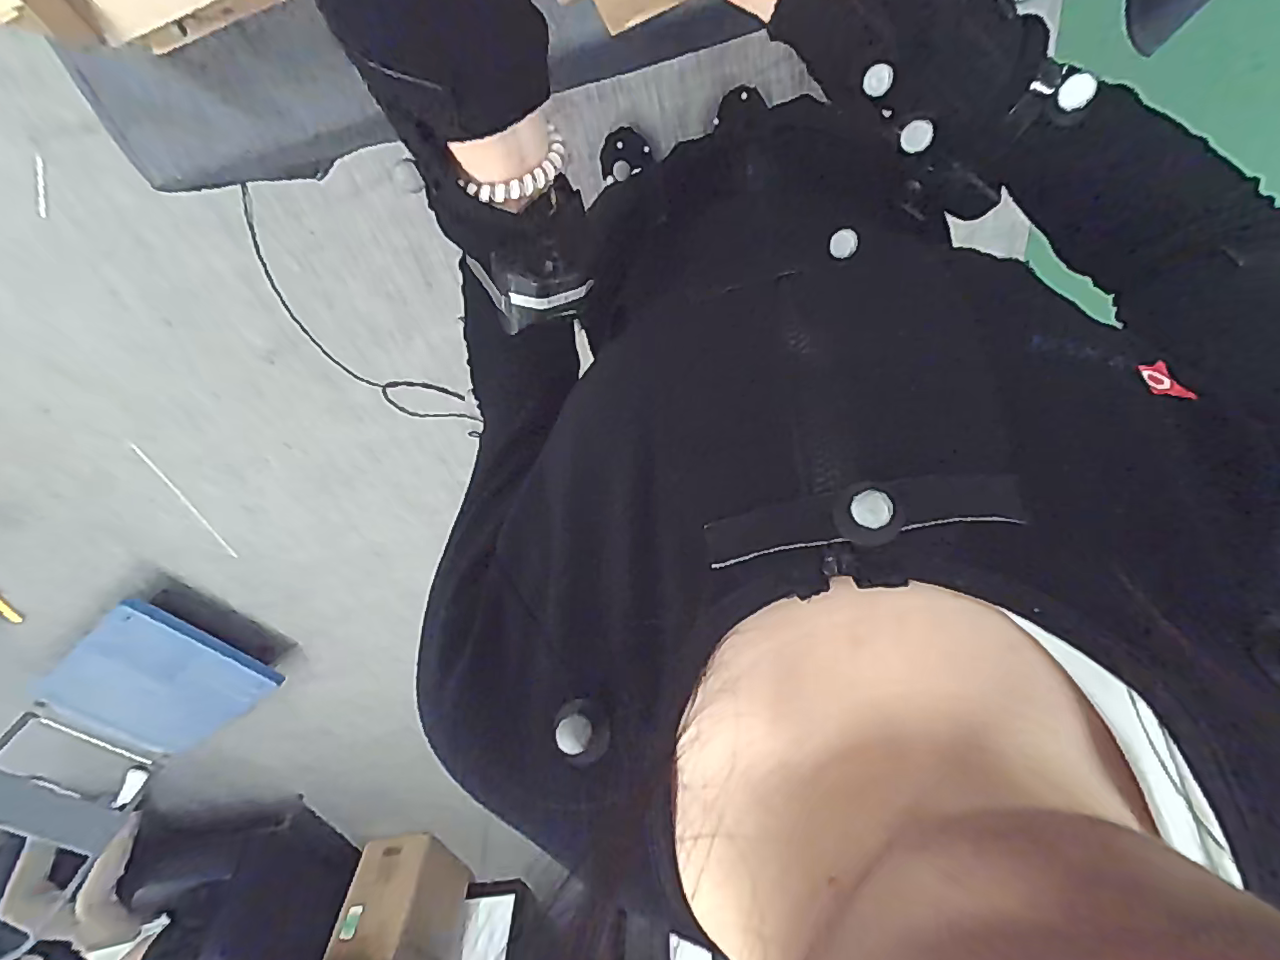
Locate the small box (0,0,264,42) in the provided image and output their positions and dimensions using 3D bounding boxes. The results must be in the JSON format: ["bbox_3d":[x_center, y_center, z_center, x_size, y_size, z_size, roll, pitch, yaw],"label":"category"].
[{"bbox_3d":[-0.421,-0.463,0.398,0.168,0.176,0.179,-14,123,9],"label":"small box"}]
